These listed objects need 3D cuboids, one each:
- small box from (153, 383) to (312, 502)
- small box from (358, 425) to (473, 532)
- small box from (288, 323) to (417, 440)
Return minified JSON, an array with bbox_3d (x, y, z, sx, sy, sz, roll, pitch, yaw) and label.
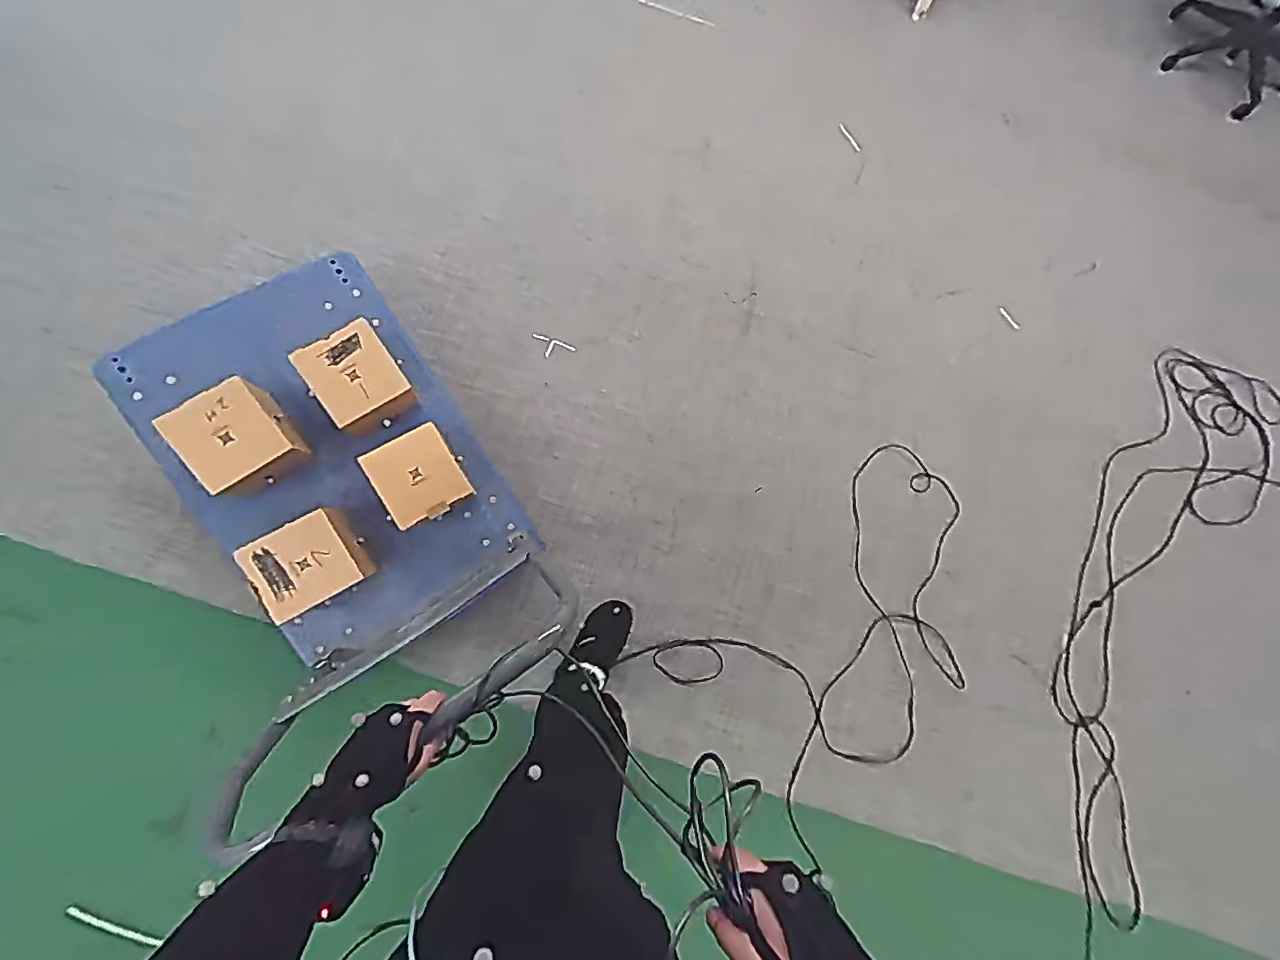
[{"bbox_3d":[-0.819,-0.069,1.112,0.168,0.176,0.179,-37,96,-15],"label":"small box"},{"bbox_3d":[-0.487,0.003,1.198,0.168,0.176,0.179,-32,95,-15],"label":"small box"},{"bbox_3d":[-0.614,-0.206,1.178,0.168,0.176,0.179,-35,96,-14],"label":"small box"}]
